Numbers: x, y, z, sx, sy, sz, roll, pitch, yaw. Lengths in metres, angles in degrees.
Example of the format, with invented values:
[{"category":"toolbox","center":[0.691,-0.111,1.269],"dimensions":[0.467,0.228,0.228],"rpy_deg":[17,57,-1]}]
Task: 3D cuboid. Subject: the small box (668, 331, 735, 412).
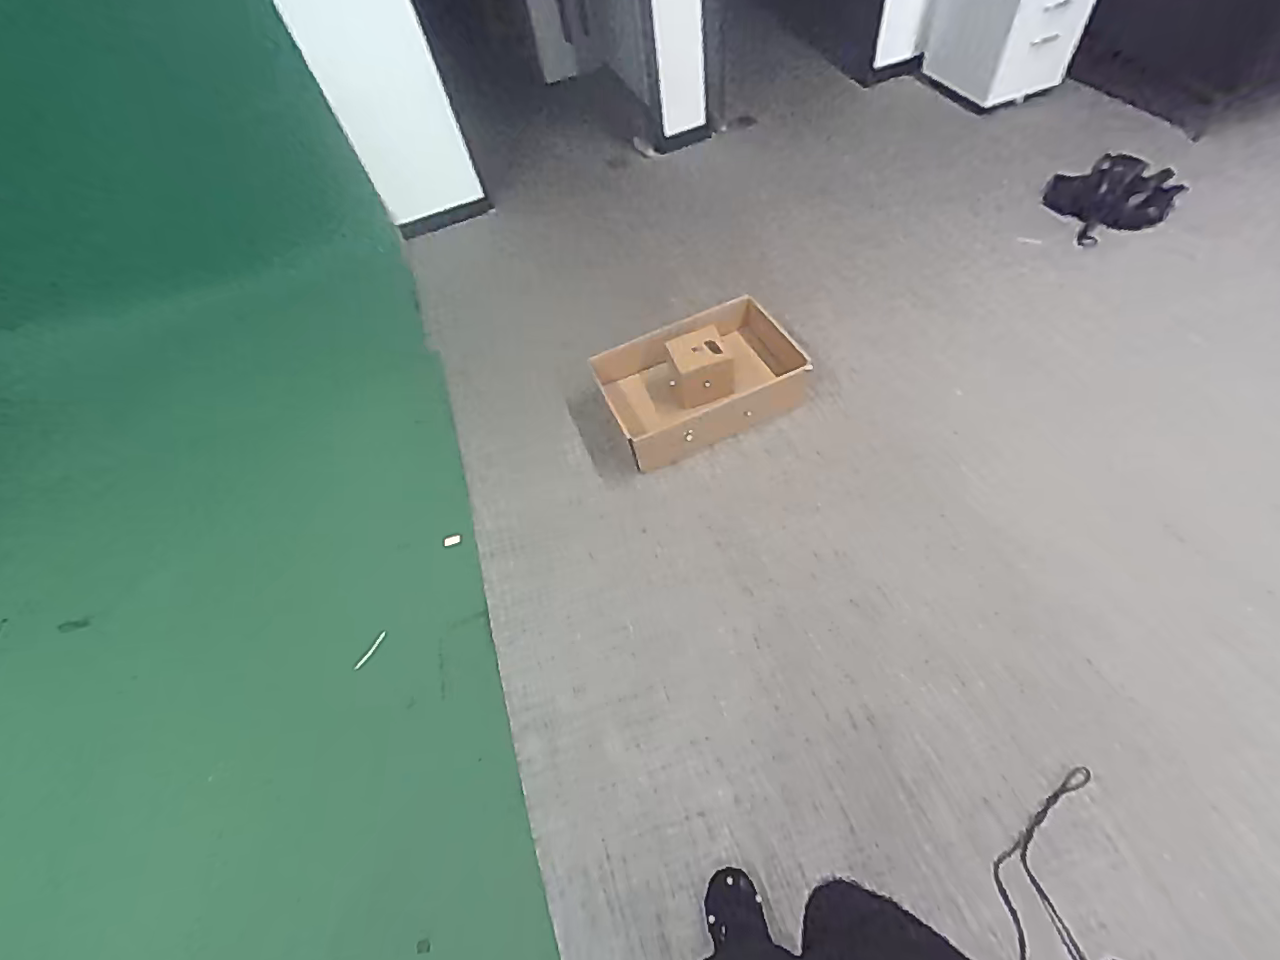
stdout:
[{"category":"small box","center":[0.205,-0.356,1.793],"dimensions":[0.179,0.176,0.168],"rpy_deg":[-19,54,-1]}]
